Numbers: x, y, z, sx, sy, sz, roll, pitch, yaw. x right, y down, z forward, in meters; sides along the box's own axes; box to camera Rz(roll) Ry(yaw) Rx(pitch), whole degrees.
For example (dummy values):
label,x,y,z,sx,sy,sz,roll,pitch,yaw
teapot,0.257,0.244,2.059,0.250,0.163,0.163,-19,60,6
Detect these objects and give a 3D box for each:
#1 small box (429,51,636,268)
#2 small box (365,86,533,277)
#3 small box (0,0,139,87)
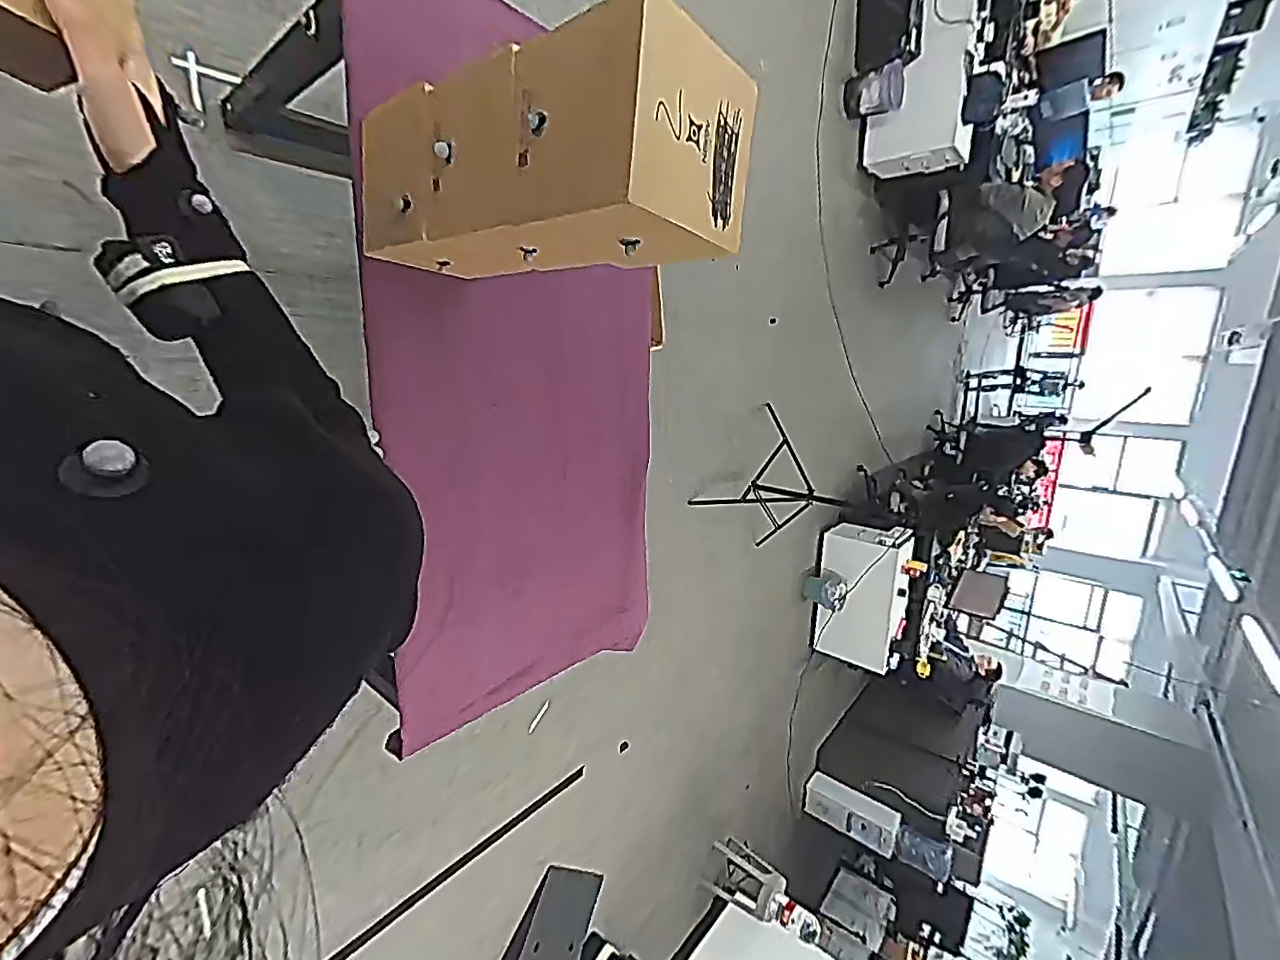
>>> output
label,x,y,z,sx,sy,sz,roll,pitch,yaw
small box,-0.128,-0.357,0.646,0.179,0.176,0.168,-8,105,-48
small box,-0.258,-0.386,0.742,0.168,0.176,0.179,-7,104,-50
small box,-0.417,-0.372,0.312,0.168,0.176,0.179,7,99,-60
